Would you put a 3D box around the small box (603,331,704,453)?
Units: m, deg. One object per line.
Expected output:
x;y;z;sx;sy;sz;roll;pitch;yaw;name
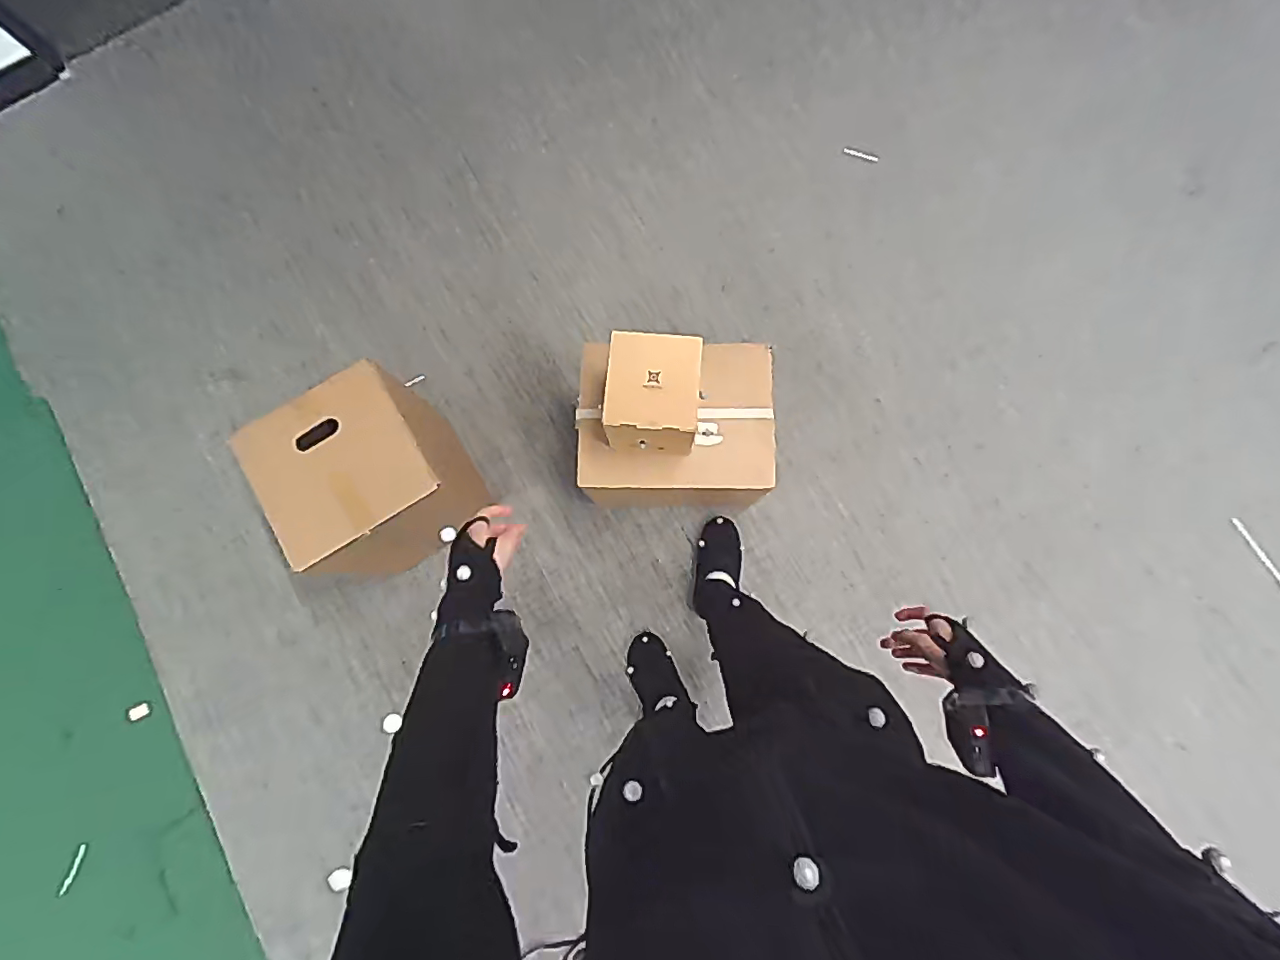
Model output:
0.025;-0.159;1.018;0.168;0.176;0.179;4;80;3;small box

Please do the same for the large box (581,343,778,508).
0.077;-0.110;1.254;0.408;0.320;0.320;0;81;1;large box
